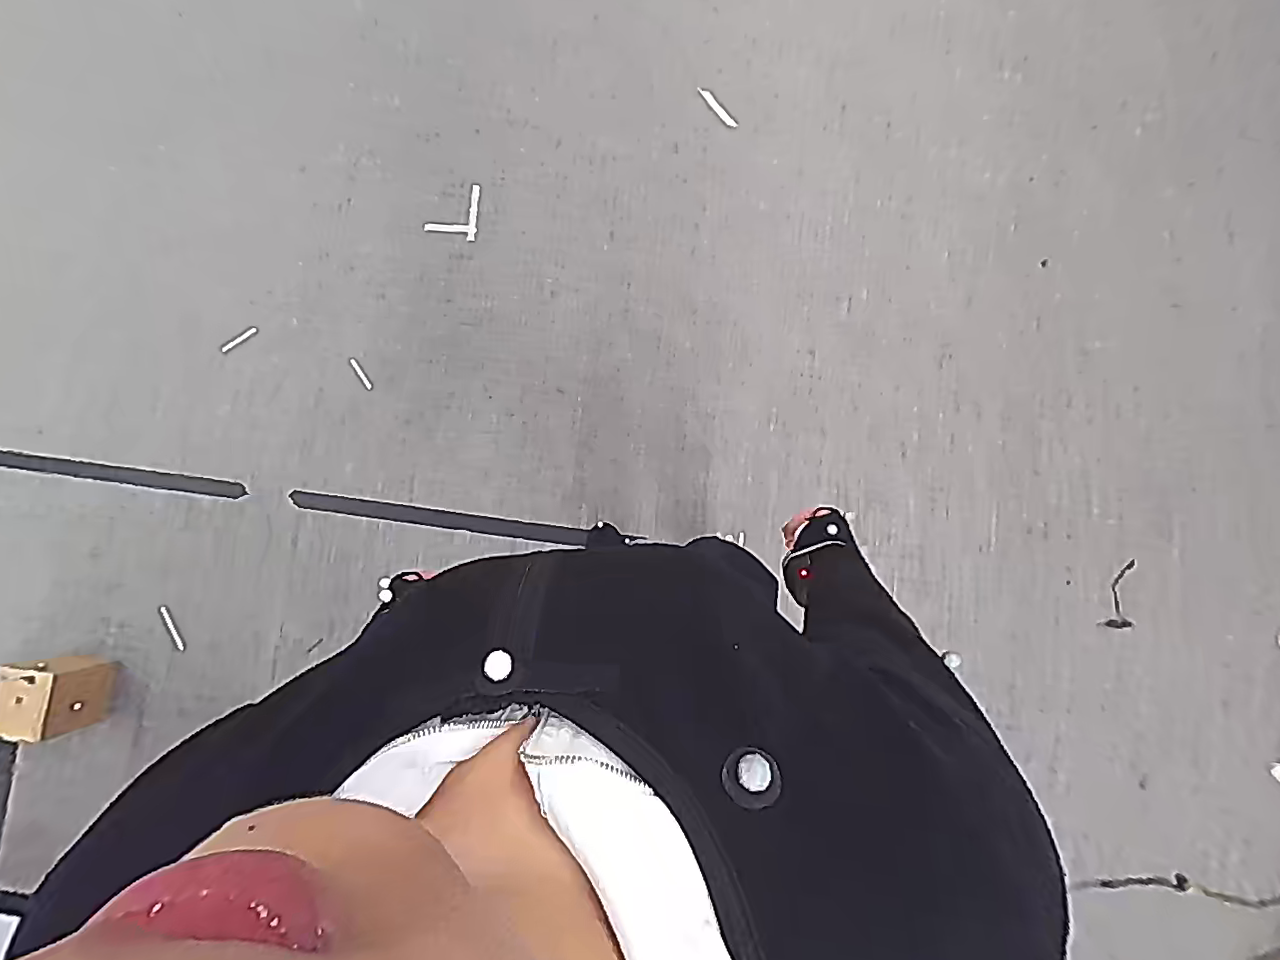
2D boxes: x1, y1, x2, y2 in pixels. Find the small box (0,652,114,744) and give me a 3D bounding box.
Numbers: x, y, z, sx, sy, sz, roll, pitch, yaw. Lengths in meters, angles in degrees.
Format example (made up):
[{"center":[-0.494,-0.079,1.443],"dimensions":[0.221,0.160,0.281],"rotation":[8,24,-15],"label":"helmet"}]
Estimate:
[{"center":[-1.588,0.583,1.462],"dimensions":[0.168,0.176,0.179],"rotation":[6,86,3],"label":"small box"}]
